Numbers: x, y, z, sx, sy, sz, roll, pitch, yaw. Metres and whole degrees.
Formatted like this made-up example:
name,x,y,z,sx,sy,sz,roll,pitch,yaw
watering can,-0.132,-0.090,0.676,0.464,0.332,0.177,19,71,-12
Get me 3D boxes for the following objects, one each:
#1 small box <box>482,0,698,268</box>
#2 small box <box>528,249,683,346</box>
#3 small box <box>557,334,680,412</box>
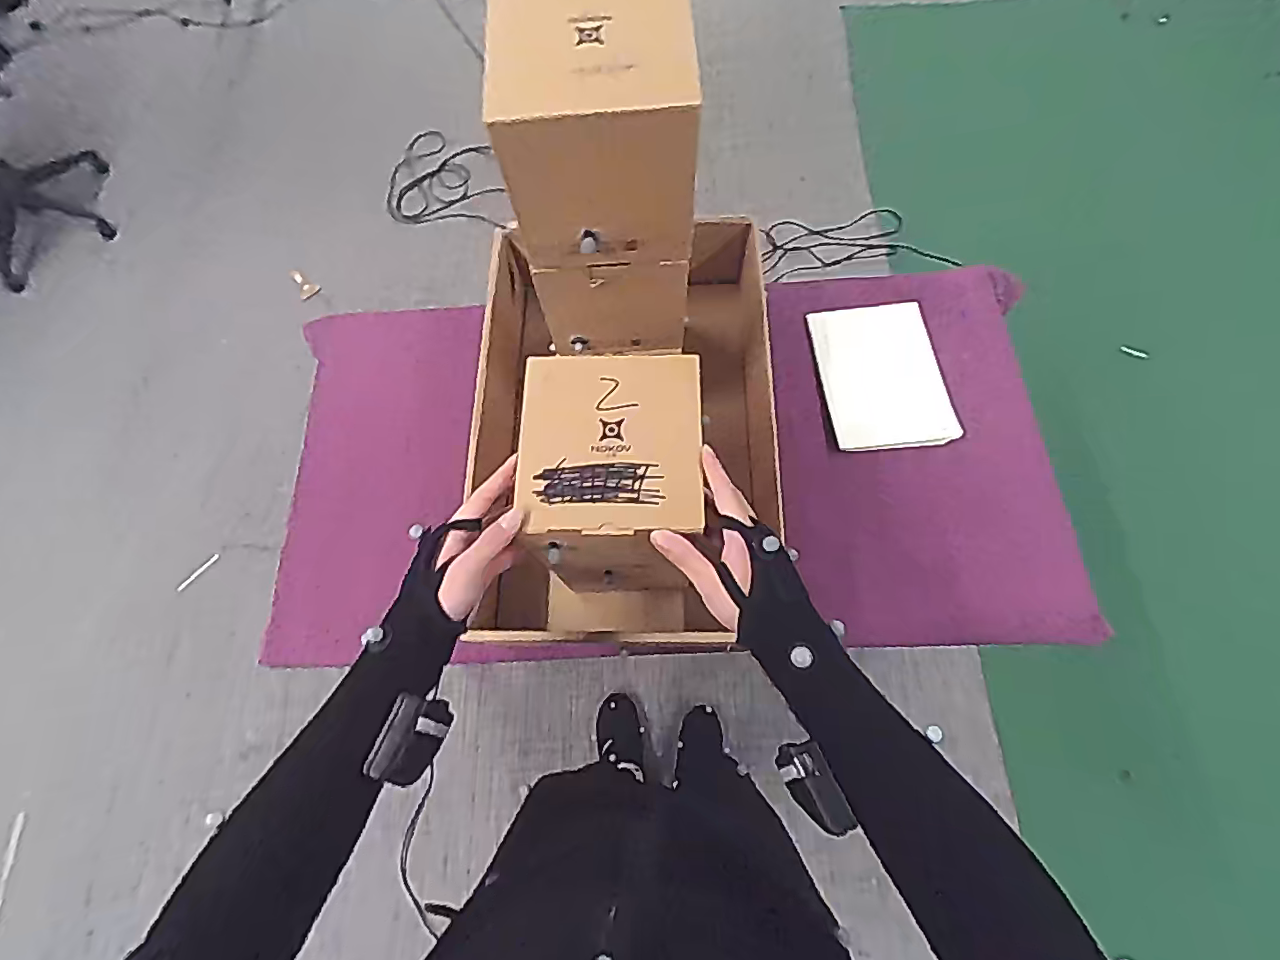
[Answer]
name,x,y,z,sx,sy,sz,roll,pitch,yaw
small box,-0.039,-0.328,0.506,0.168,0.176,0.179,-3,73,1
small box,-0.035,-0.277,0.660,0.168,0.176,0.179,-3,71,1
small box,-0.029,-0.218,0.814,0.168,0.176,0.179,-3,72,1
